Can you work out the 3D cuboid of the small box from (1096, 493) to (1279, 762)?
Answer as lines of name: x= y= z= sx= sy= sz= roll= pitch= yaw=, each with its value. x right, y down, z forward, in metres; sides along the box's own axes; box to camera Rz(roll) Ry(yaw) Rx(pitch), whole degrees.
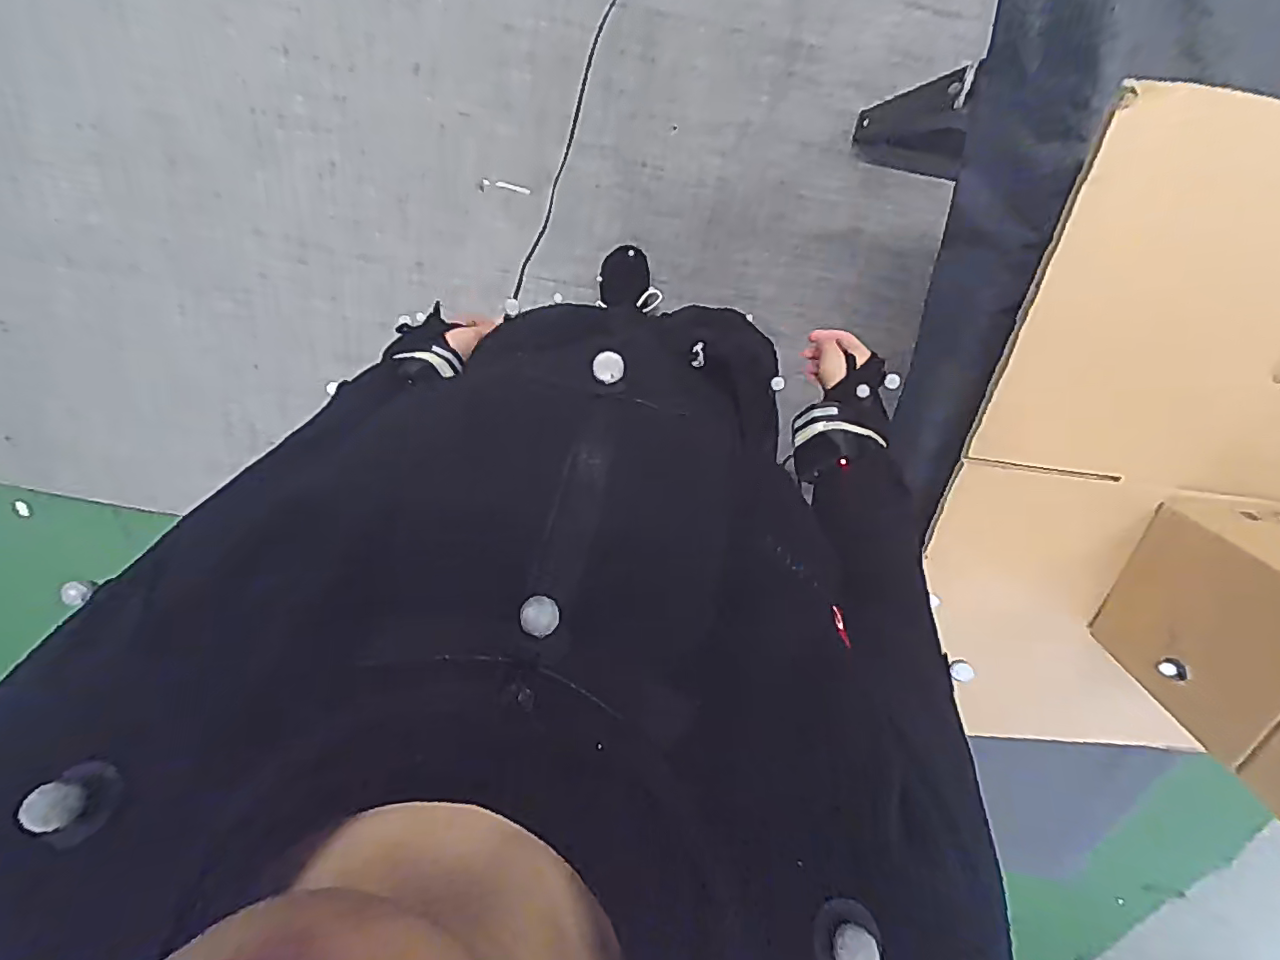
small box: x=0.581 y=0.129 z=0.497 sx=0.168 sy=0.176 sz=0.179 roll=-1 pitch=119 yaw=-3
